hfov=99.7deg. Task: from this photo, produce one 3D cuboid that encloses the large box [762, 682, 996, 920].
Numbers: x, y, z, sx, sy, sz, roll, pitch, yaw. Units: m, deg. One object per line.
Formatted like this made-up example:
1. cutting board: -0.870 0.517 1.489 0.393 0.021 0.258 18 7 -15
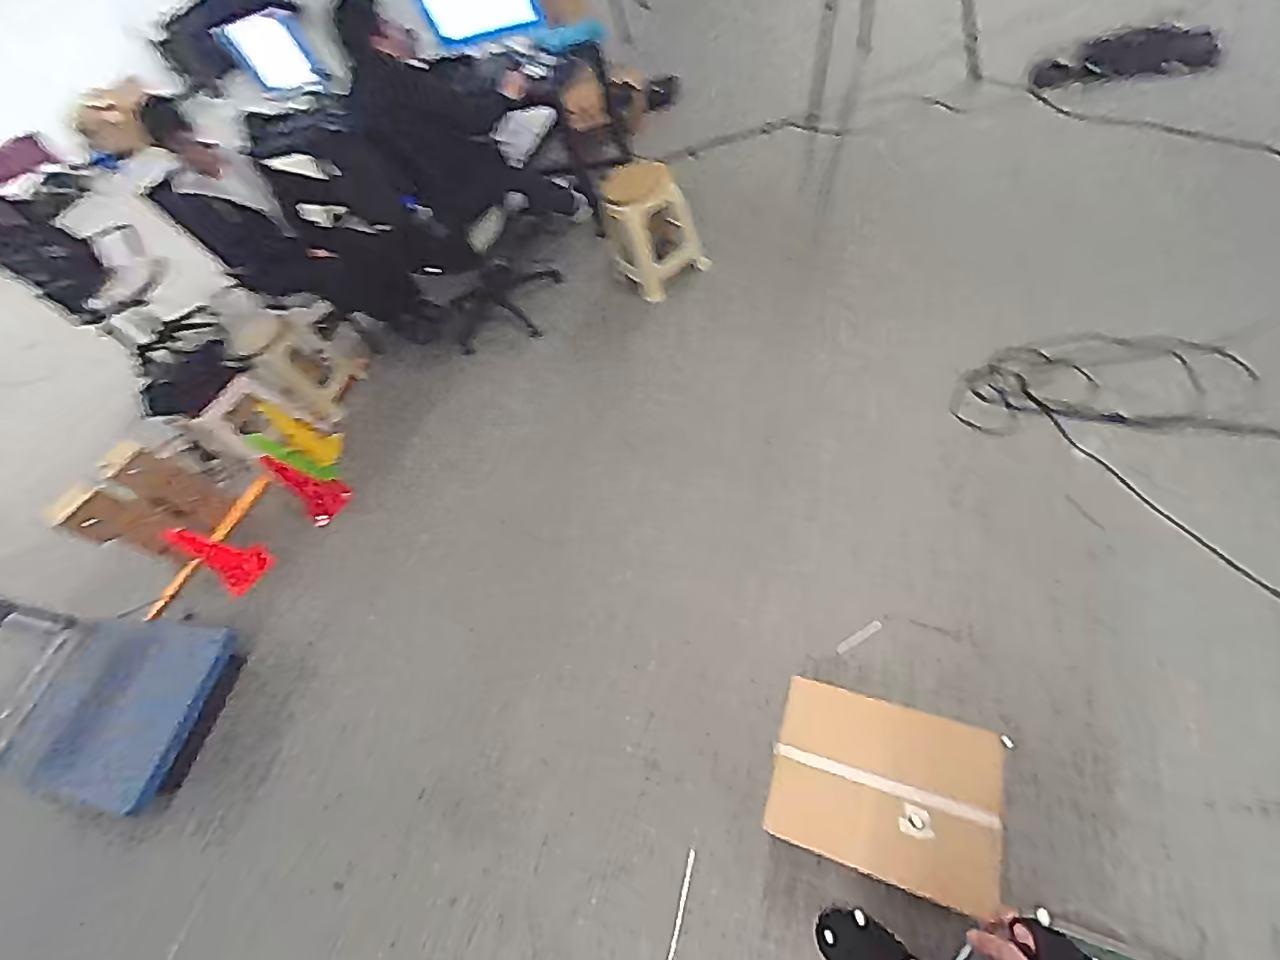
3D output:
1. large box: 0.503 0.681 1.180 0.408 0.320 0.320 9 60 23
